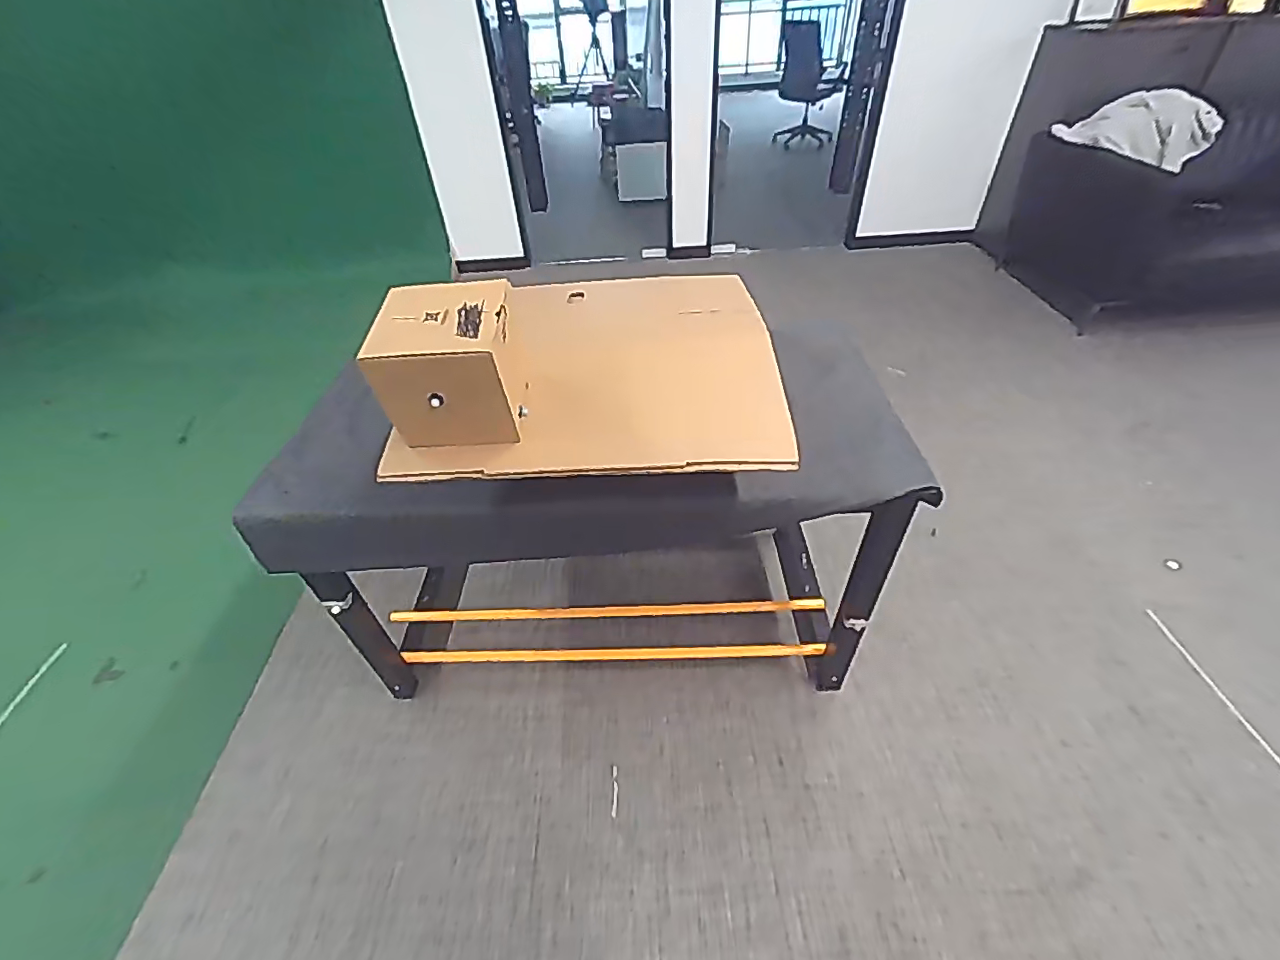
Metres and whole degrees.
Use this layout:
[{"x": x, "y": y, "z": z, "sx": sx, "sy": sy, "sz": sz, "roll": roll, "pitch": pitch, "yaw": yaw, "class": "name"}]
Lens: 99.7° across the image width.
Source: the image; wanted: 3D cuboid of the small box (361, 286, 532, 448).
[{"x": -0.266, "y": -0.162, "z": 0.796, "sx": 0.179, "sy": 0.176, "sz": 0.168, "roll": -3, "pitch": 51, "yaw": 3, "class": "small box"}]
